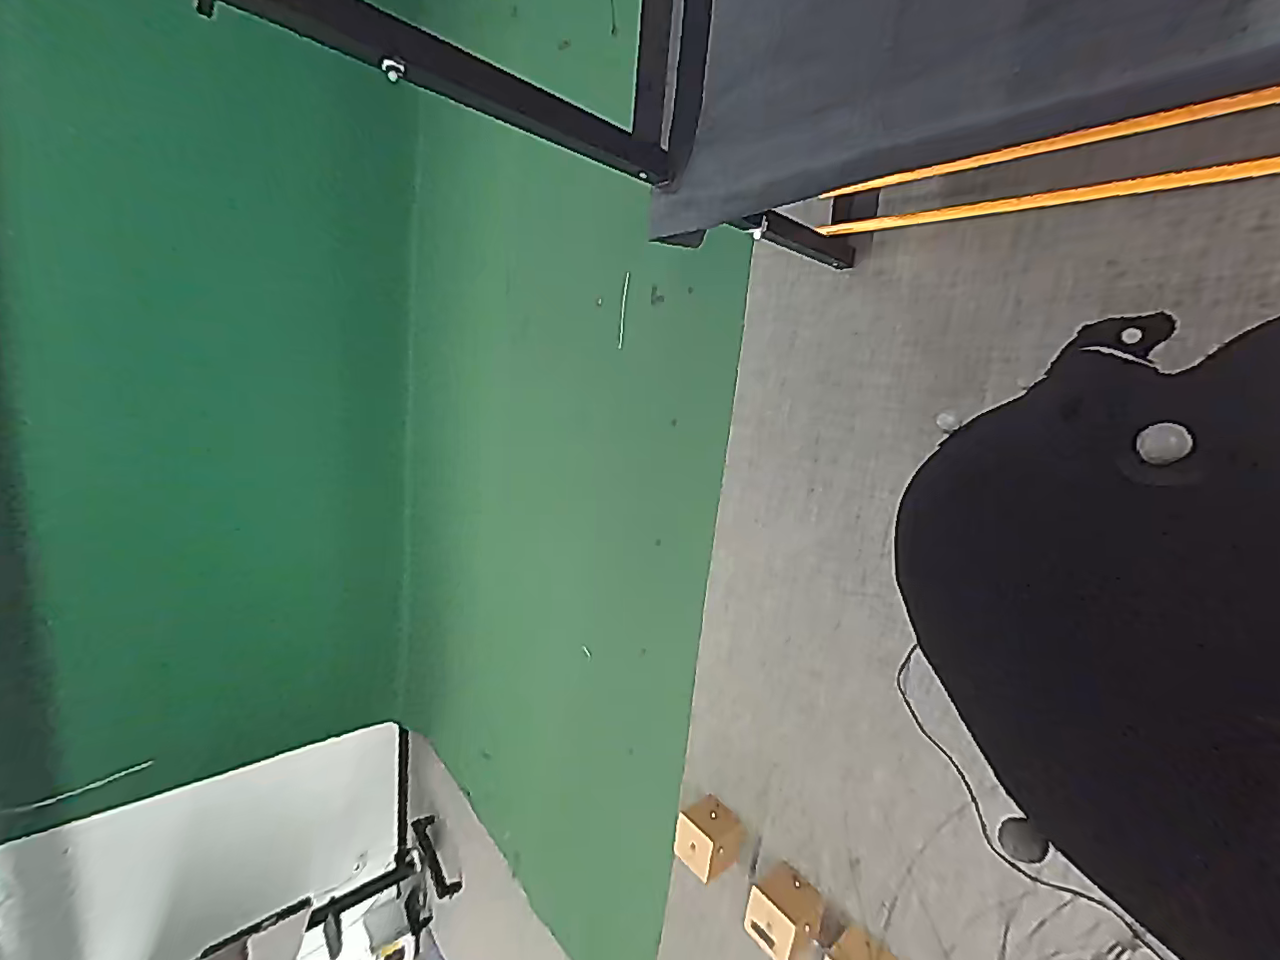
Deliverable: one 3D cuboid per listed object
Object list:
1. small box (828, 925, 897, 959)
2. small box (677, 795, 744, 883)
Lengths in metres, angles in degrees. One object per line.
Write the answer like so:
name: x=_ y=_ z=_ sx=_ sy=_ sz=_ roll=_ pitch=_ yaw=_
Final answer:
small box: x=0.642 y=1.447 z=1.551 sx=0.168 sy=0.176 sz=0.179 roll=18 pitch=106 yaw=46
small box: x=0.260 y=1.302 z=1.977 sx=0.168 sy=0.176 sz=0.179 roll=19 pitch=106 yaw=47
